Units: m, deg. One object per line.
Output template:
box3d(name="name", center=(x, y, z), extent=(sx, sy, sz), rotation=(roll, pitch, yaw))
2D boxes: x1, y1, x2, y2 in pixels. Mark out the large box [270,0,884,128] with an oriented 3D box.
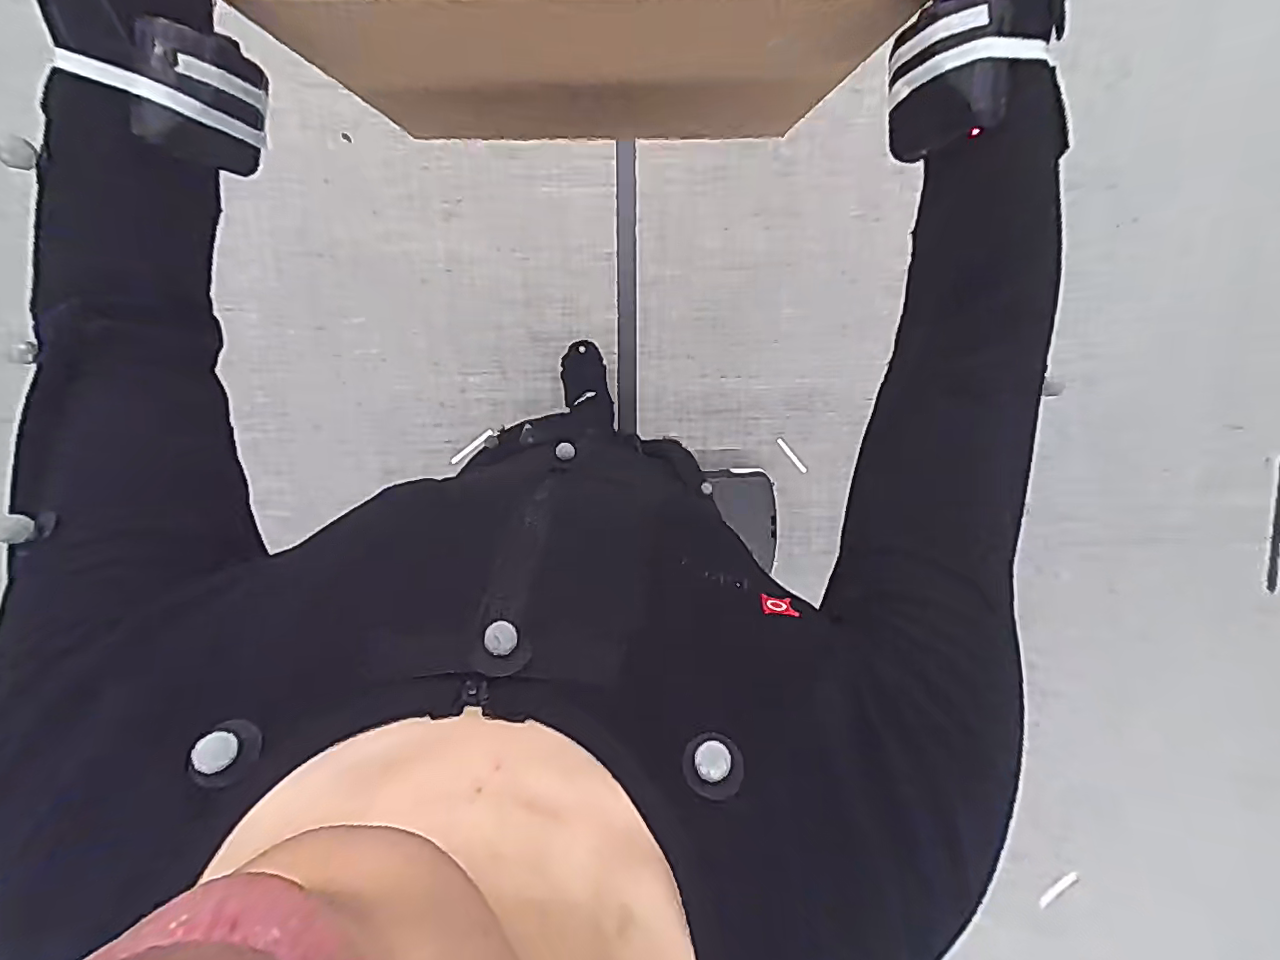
box3d(name="large box", center=(-0.042, -0.479, 0.393), extent=(0.408, 0.320, 0.320), rotation=(-2, 111, -2))
